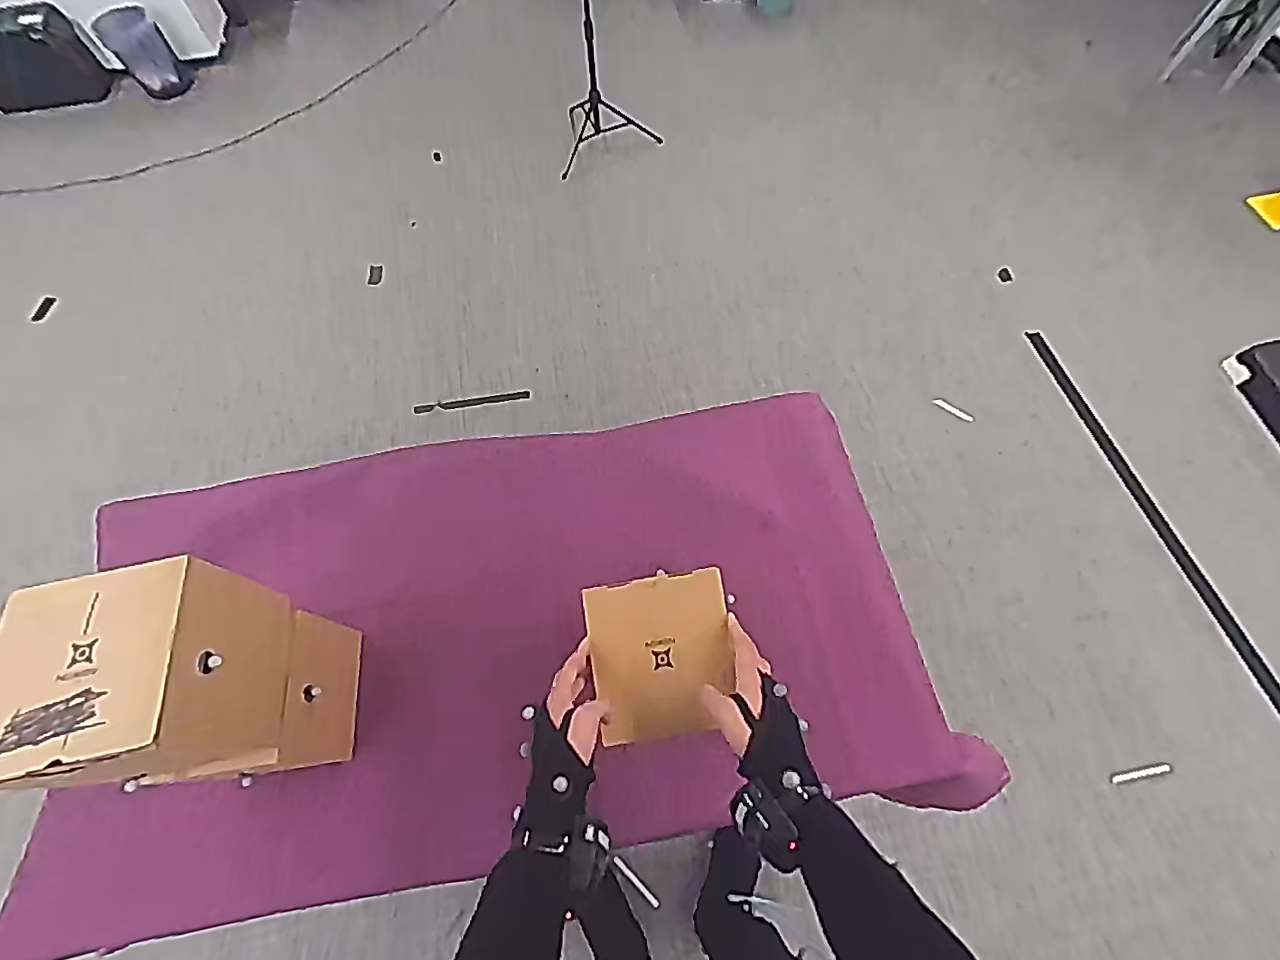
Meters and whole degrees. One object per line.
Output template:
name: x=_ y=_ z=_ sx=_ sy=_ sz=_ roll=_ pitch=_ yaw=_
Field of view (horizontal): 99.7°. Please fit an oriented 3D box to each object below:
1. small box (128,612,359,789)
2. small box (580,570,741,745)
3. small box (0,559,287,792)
small box: x=-0.488 y=0.284 z=0.700 sx=0.168 sy=0.176 sz=0.179 roll=-7 pitch=64 yaw=-3
small box: x=0.027 y=0.218 z=0.698 sx=0.168 sy=0.176 sz=0.179 roll=-10 pitch=77 yaw=1
small box: x=-0.498 y=0.202 z=0.557 sx=0.168 sy=0.176 sz=0.179 roll=-11 pitch=64 yaw=-4
